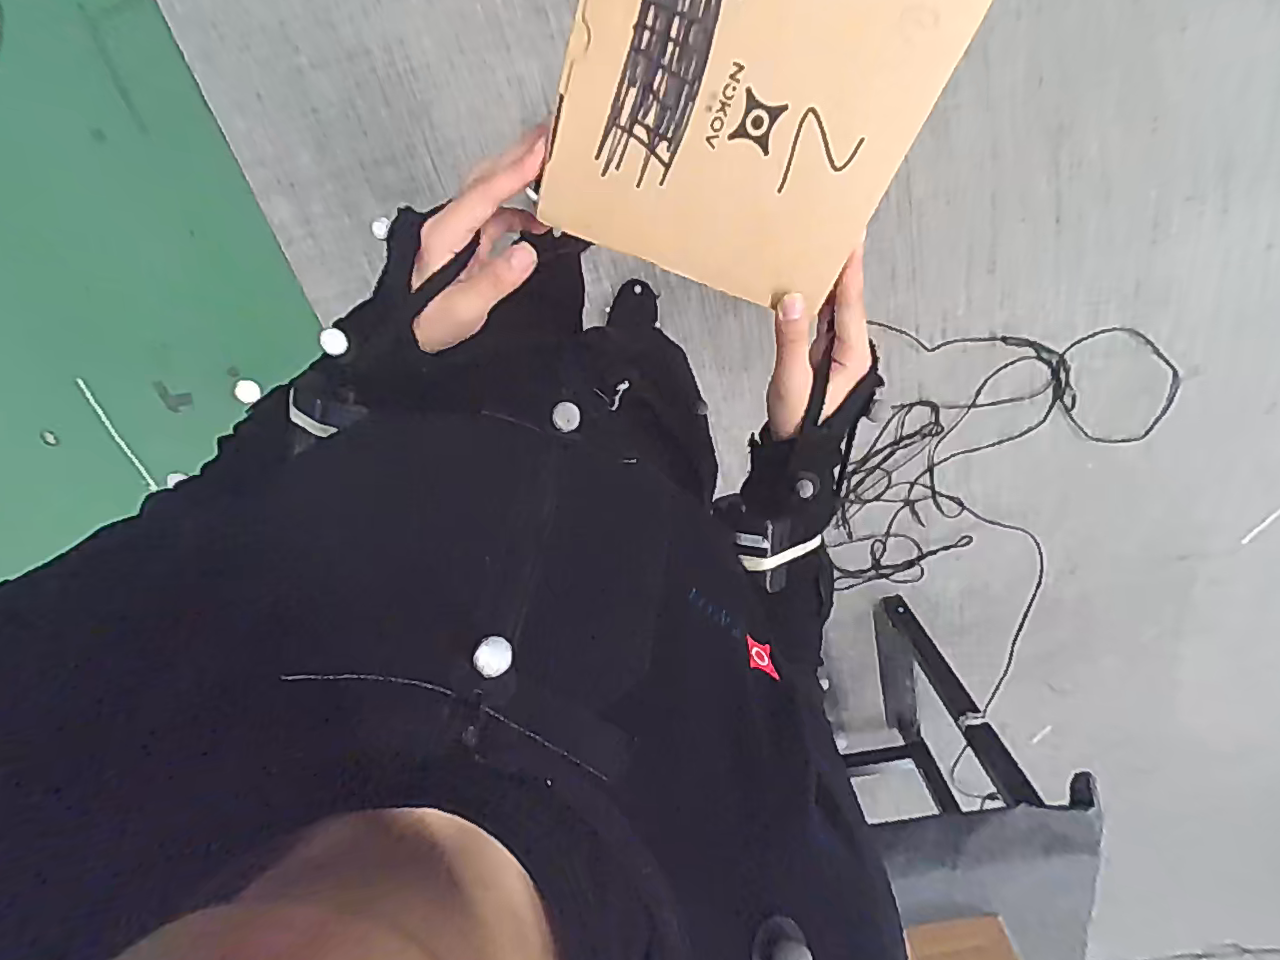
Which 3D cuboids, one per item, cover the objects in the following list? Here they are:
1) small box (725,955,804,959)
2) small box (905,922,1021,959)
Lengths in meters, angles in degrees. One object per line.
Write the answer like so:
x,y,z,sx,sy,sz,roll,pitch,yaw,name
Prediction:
0.249,1.026,1.010,0.168,0.176,0.179,-10,116,7,small box
0.596,0.919,0.954,0.179,0.176,0.168,-15,115,8,small box
